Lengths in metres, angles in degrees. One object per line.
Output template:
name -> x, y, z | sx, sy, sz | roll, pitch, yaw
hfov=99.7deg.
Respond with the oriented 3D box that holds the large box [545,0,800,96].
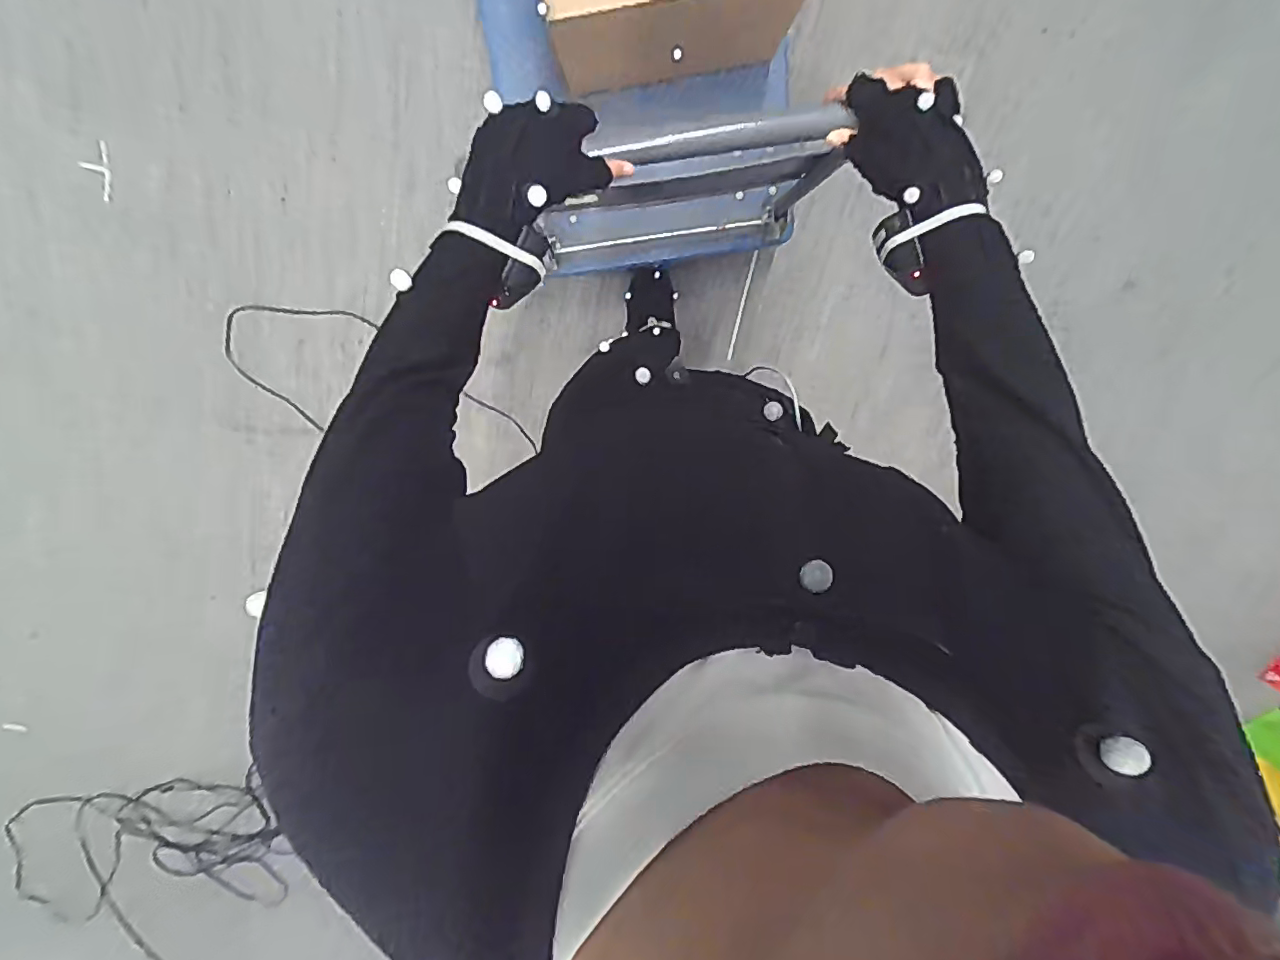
large box -> 0.039, -0.893, 0.887 | 0.408, 0.320, 0.320 | -9, 107, 3
